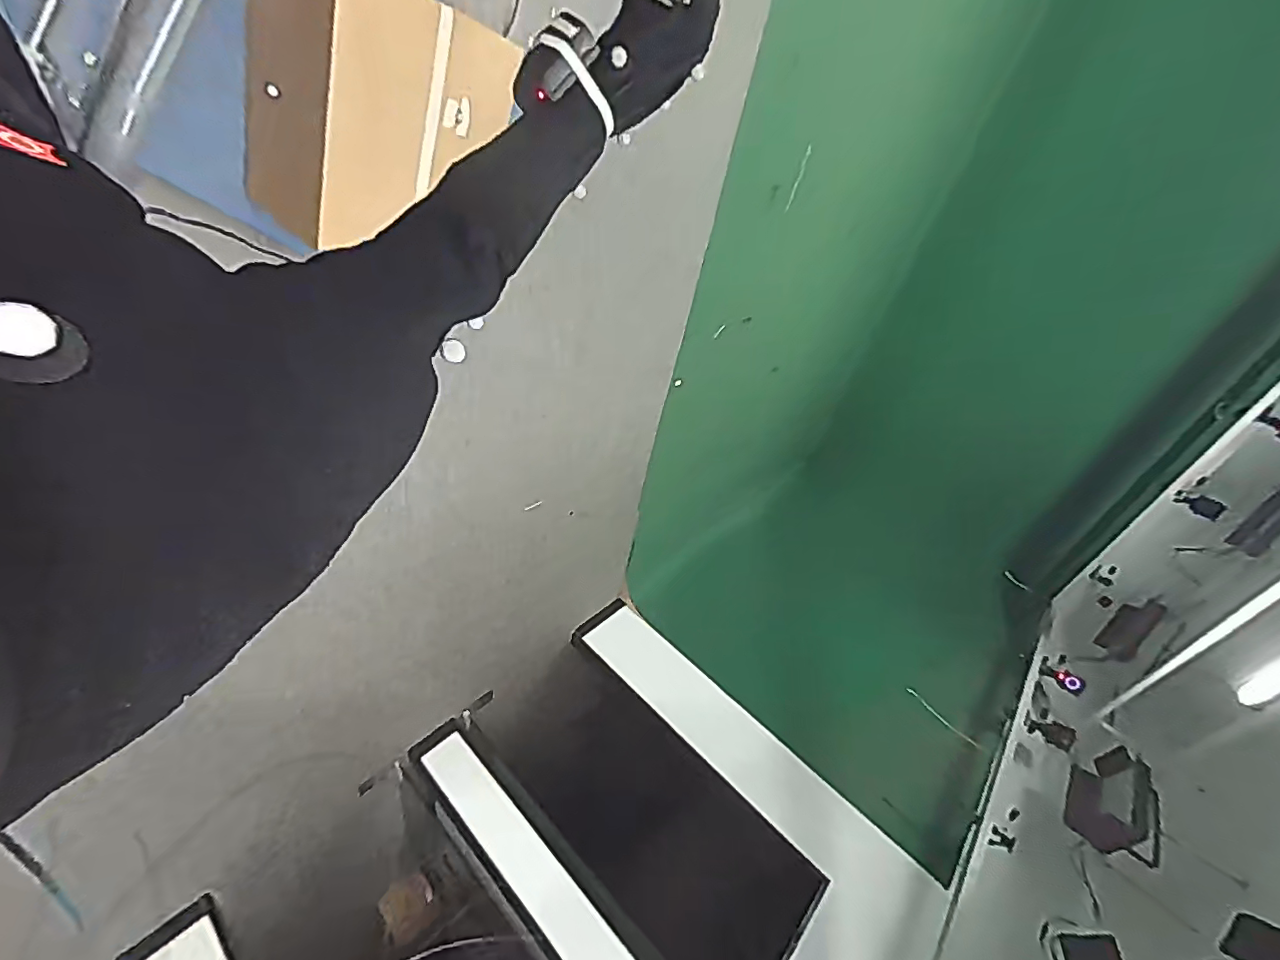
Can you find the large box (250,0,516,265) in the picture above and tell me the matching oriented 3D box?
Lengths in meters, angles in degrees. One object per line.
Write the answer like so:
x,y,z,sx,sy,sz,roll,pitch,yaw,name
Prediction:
-0.480,-0.659,0.985,0.320,0.320,0.408,-16,135,-51,large box
